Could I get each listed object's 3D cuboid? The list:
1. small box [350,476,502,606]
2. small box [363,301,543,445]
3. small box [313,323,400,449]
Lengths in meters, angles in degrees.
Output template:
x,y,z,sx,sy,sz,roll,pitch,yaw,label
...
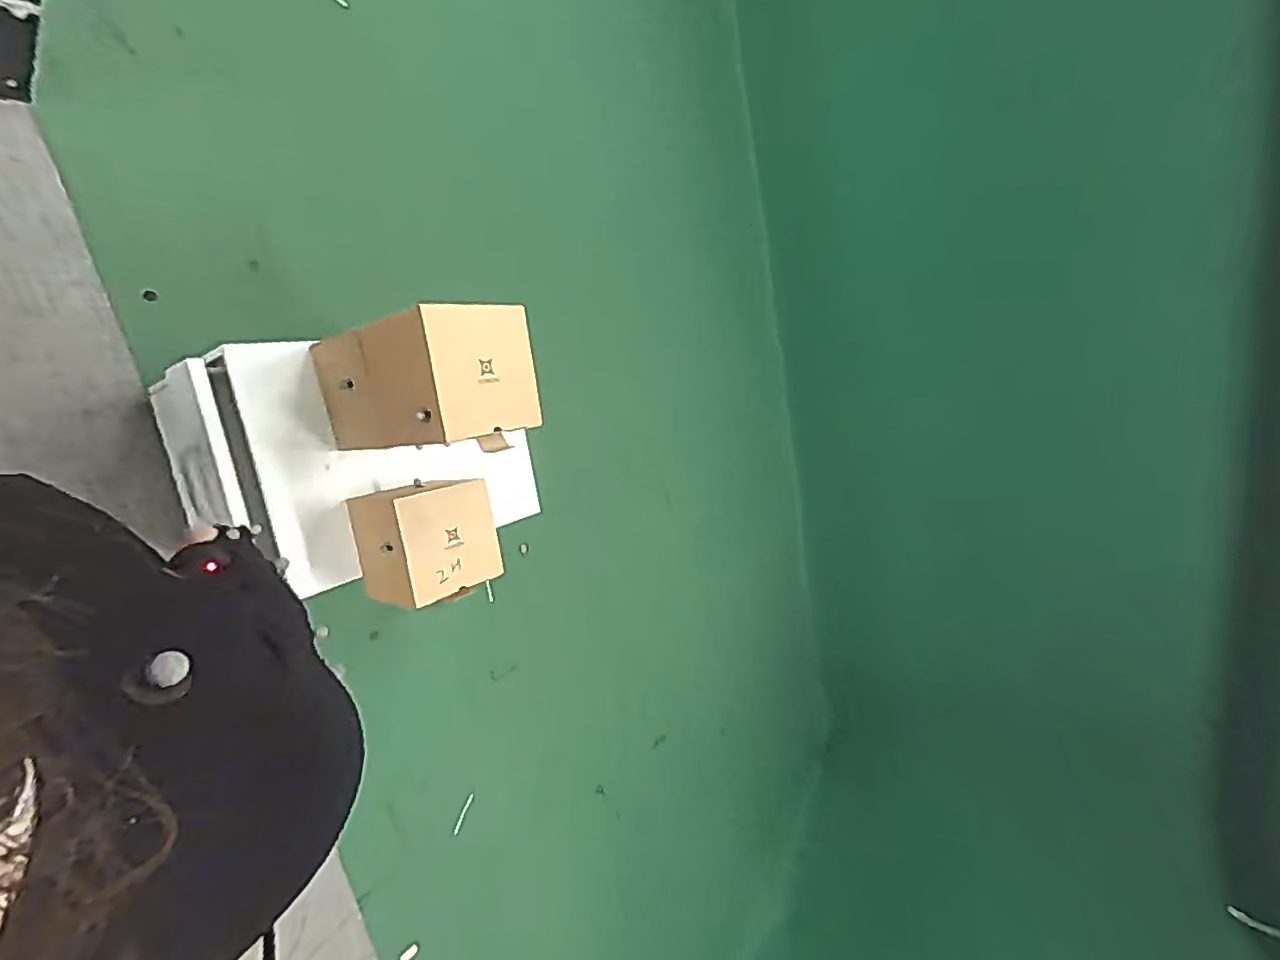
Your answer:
x,y,z,sx,sy,sz,roll,pitch,yaw,label
-0.362,0.093,0.912,0.168,0.176,0.179,-17,103,-49,small box
-0.267,-0.150,0.772,0.168,0.176,0.179,-21,108,-49,small box
-0.395,-0.152,0.873,0.168,0.176,0.179,-23,108,-49,small box
